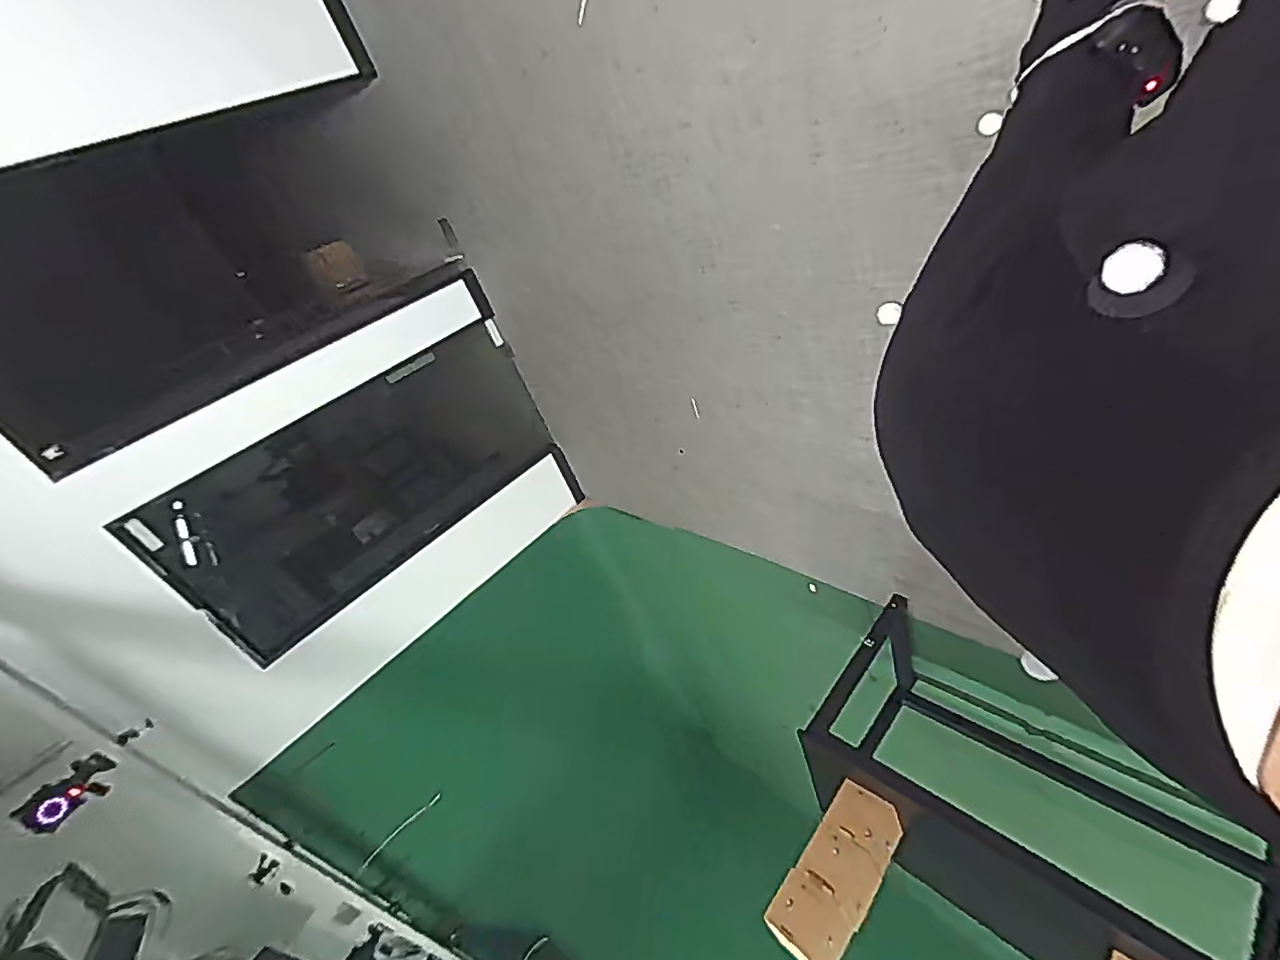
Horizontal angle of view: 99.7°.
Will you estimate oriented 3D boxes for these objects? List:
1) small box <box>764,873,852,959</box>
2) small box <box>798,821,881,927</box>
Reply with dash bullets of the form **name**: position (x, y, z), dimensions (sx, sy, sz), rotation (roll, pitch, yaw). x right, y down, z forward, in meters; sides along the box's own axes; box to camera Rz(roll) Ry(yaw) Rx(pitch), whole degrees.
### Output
- **small box**: position (0.503, 1.325, 1.607), dimensions (0.168, 0.176, 0.179), rotation (10, 135, 51)
- **small box**: position (0.627, 1.220, 1.684), dimensions (0.168, 0.176, 0.179), rotation (9, 133, 50)
